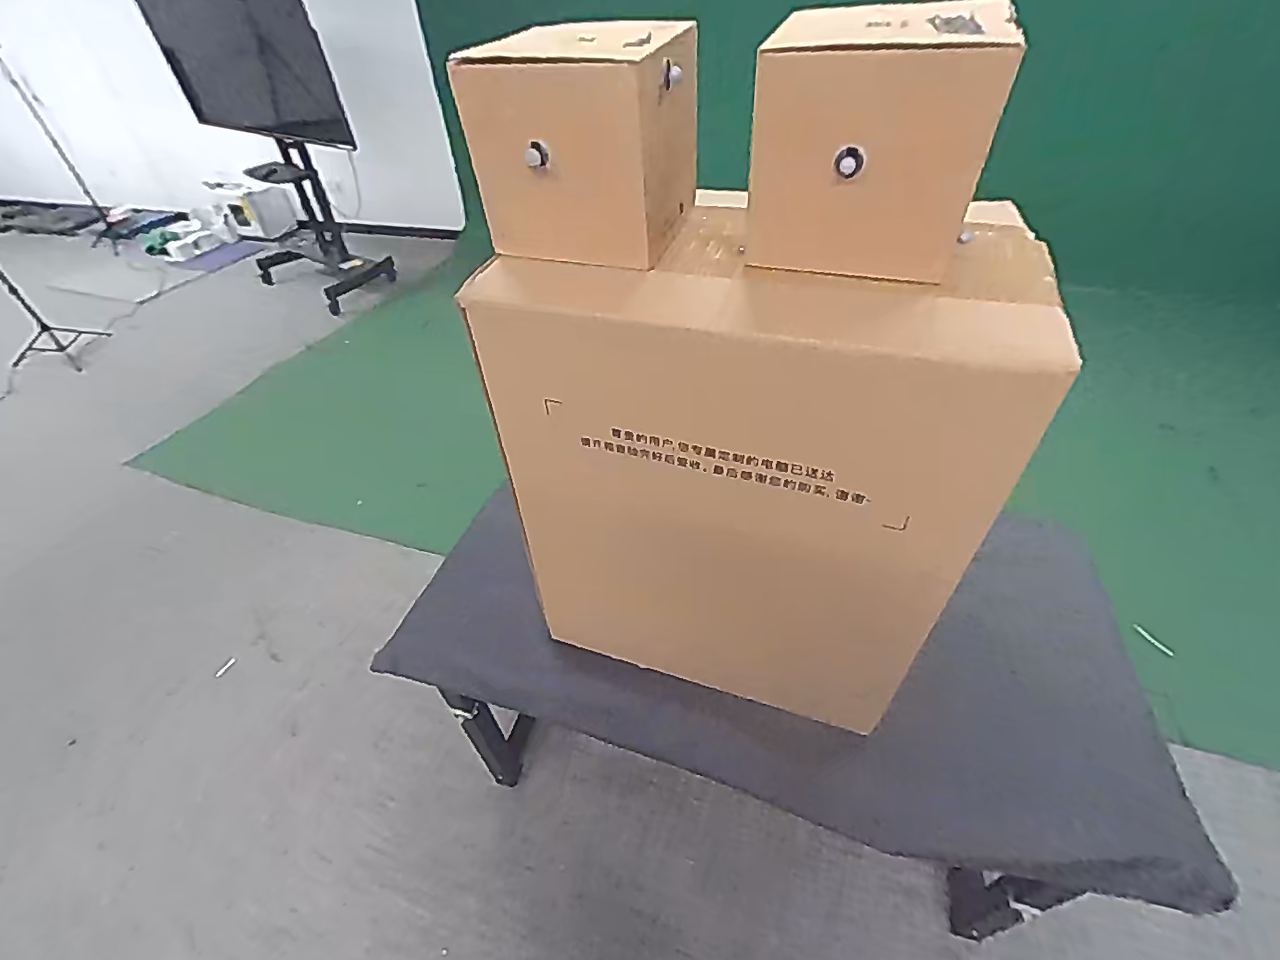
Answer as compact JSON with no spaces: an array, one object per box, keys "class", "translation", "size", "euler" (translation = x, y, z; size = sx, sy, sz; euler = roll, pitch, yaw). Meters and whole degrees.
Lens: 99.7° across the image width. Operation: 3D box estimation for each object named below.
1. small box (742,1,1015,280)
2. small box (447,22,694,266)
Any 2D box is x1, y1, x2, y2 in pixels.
[{"class":"small box","translation":[0.197,-0.297,0.481],"size":[0.179,0.176,0.168],"euler":[13,50,18]},{"class":"small box","translation":[-0.051,-0.332,0.540],"size":[0.179,0.176,0.168],"euler":[12,50,17]}]
